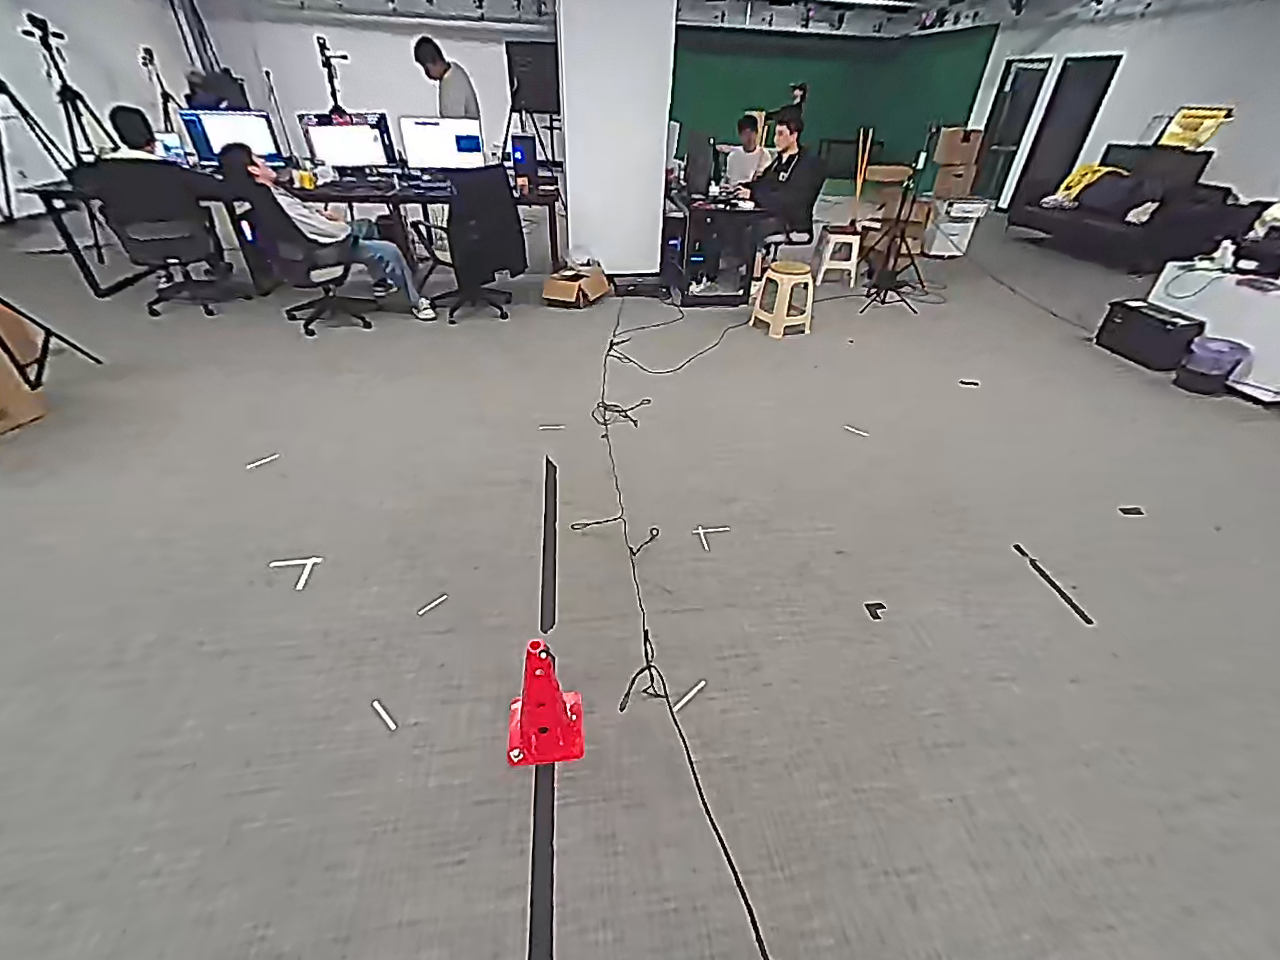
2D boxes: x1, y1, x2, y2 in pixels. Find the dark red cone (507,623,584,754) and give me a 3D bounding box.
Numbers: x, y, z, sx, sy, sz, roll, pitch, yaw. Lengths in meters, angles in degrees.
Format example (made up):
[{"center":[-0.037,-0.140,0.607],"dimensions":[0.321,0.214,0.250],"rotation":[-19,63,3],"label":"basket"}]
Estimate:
[{"center":[-0.248,0.511,1.377],"dimensions":[0.201,0.394,0.202],"rotation":[-2,35,-8],"label":"dark red cone"}]
